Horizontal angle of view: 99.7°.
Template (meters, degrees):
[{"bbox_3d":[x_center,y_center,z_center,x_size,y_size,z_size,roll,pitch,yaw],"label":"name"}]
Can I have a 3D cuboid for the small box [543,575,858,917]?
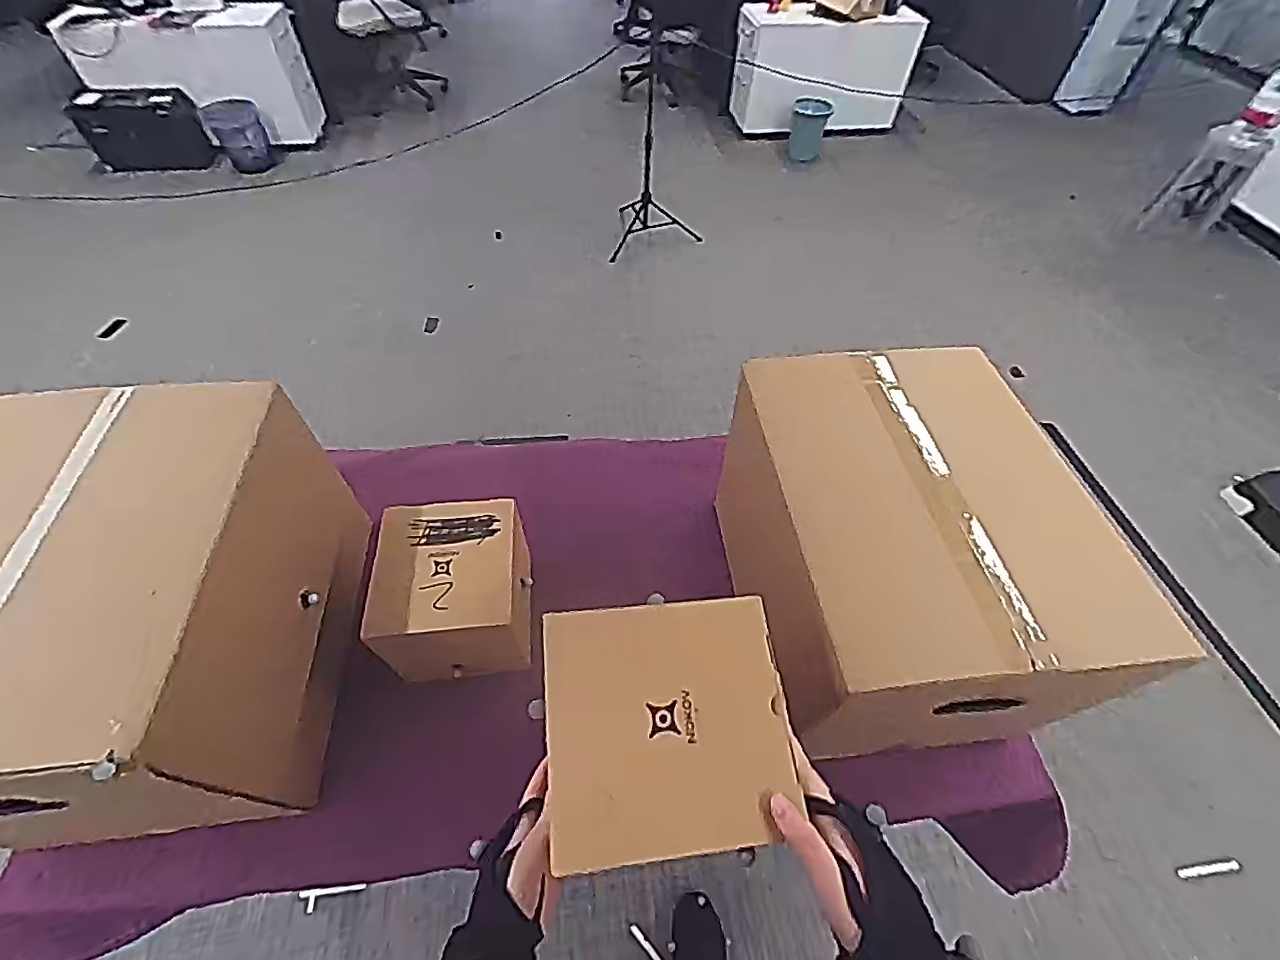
[{"bbox_3d":[0.035,0.194,0.420,0.168,0.176,0.179,7,41,-26],"label":"small box"}]
